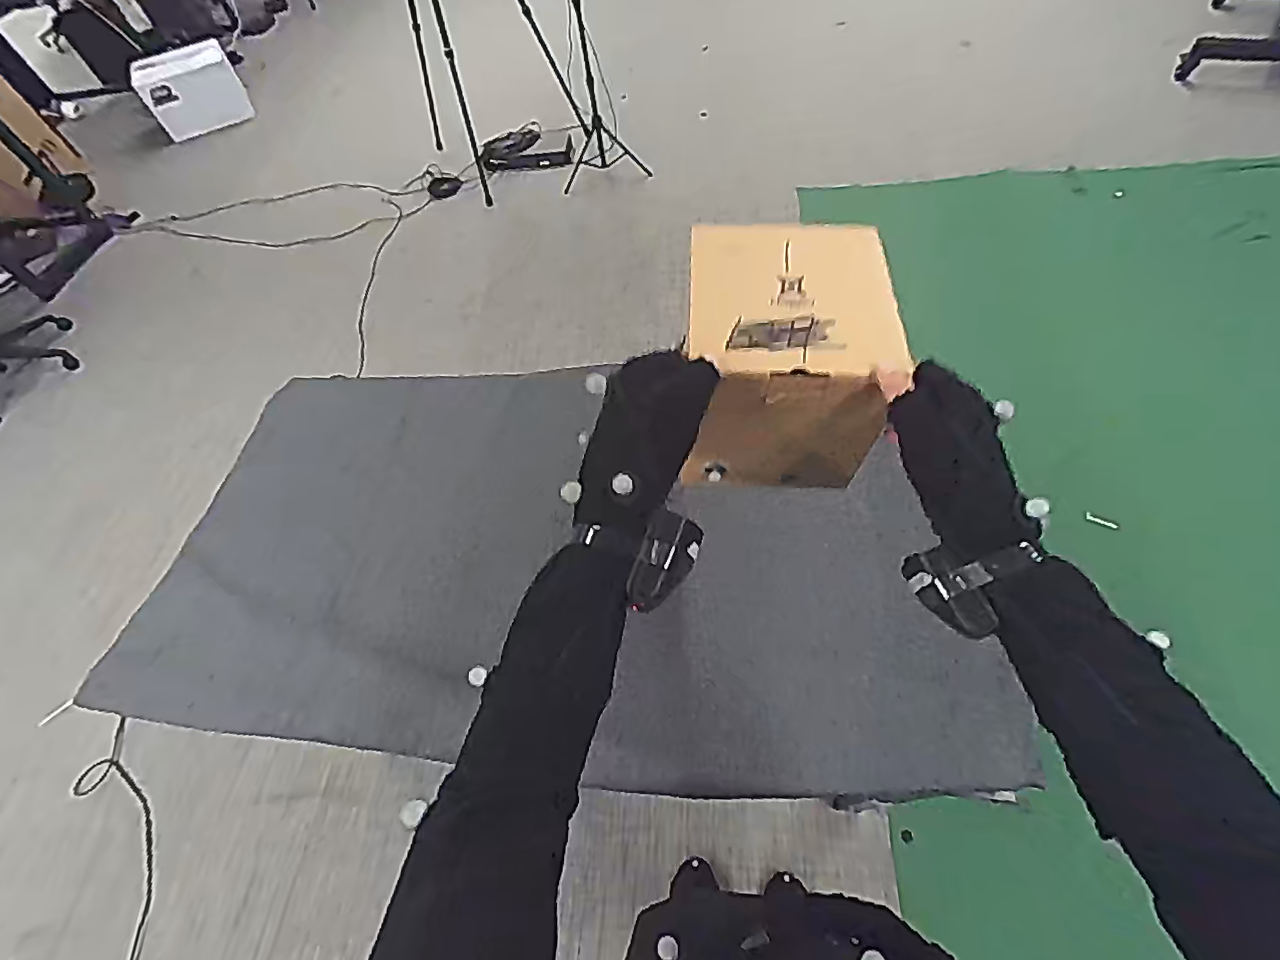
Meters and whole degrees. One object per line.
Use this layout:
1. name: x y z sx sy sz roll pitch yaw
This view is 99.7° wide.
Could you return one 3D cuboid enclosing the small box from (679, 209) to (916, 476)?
1. small box: 0.122 -0.116 0.492 0.168 0.176 0.179 2 60 3
